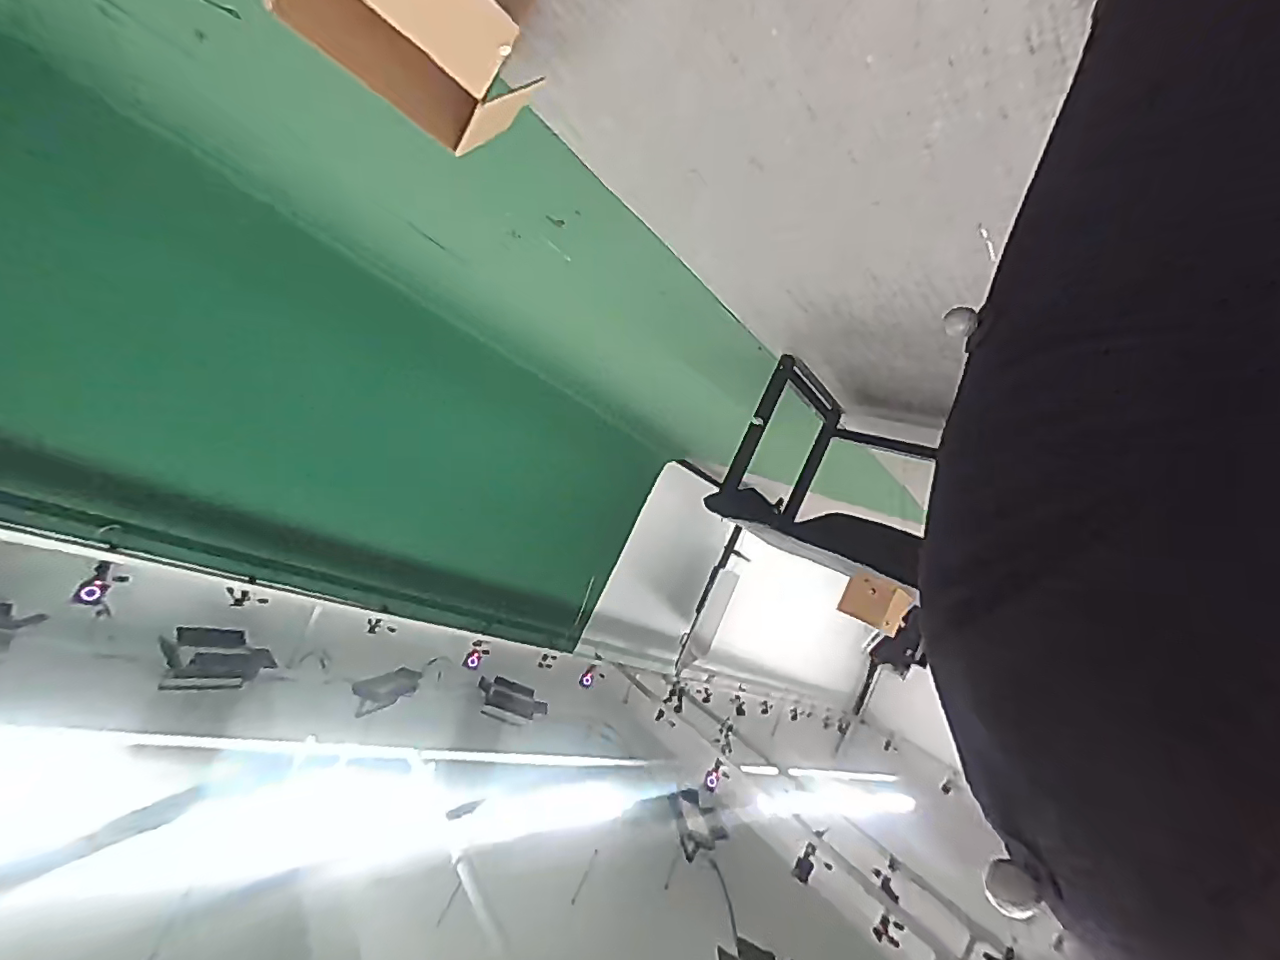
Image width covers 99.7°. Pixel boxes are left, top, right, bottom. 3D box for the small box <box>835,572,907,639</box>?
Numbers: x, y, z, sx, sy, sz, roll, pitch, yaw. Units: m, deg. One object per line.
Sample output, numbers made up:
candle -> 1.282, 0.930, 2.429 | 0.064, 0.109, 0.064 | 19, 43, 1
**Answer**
small box -> 0.852, 0.458, 1.982 | 0.168, 0.176, 0.179 | 21, 173, 46
